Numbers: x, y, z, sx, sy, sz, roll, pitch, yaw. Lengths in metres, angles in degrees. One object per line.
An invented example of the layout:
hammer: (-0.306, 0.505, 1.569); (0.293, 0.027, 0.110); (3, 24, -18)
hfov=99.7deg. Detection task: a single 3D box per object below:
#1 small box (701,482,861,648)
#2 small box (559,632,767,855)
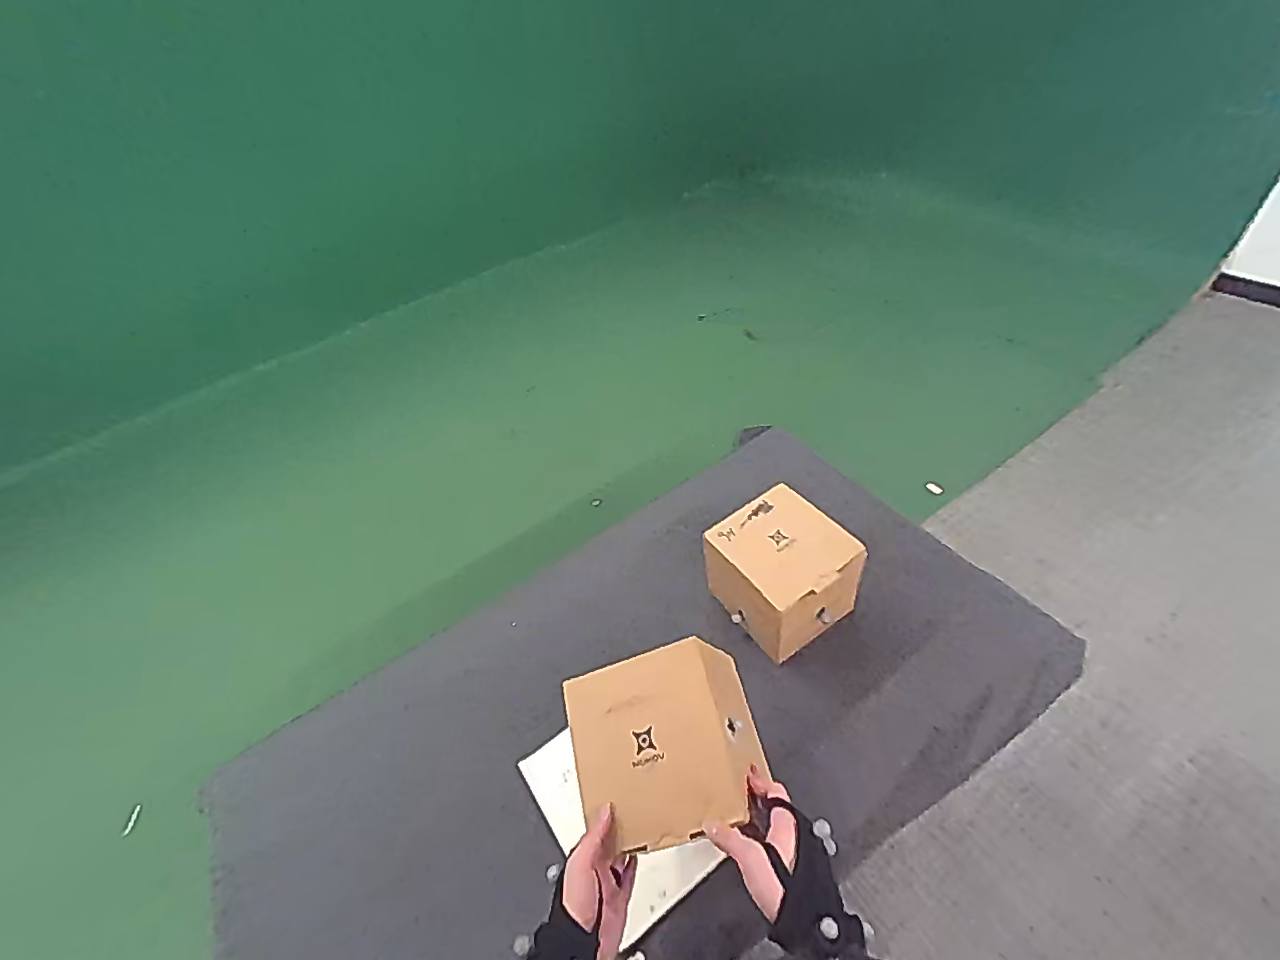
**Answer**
small box: (0.218, 0.143, 0.864); (0.168, 0.176, 0.179); (-31, 51, -16)
small box: (0.030, 0.291, 0.610); (0.168, 0.176, 0.179); (-22, 59, 12)
